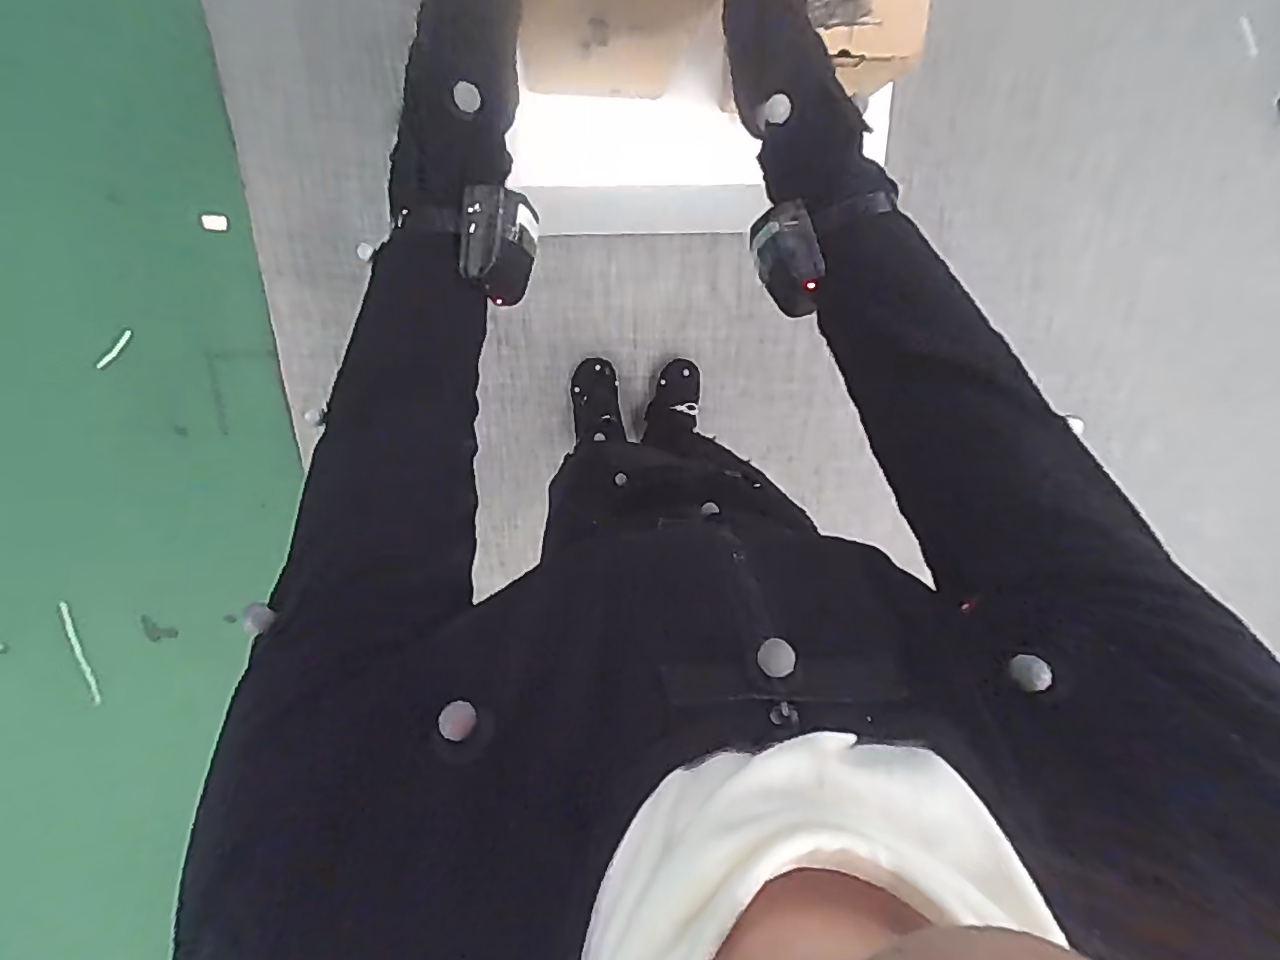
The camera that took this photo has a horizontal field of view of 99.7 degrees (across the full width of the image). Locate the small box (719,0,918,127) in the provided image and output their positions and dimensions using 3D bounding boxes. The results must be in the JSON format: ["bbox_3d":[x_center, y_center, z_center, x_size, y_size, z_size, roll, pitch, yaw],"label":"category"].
[{"bbox_3d":[0.188,-0.517,0.601,0.168,0.176,0.179,-2,106,-6],"label":"small box"}]

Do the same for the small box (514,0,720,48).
[{"bbox_3d":[-0.020,-0.439,0.371,0.168,0.176,0.179,-5,108,-4],"label":"small box"}]

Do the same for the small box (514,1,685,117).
[{"bbox_3d":[-0.043,-0.520,0.573,0.168,0.176,0.179,-1,106,-5],"label":"small box"}]
